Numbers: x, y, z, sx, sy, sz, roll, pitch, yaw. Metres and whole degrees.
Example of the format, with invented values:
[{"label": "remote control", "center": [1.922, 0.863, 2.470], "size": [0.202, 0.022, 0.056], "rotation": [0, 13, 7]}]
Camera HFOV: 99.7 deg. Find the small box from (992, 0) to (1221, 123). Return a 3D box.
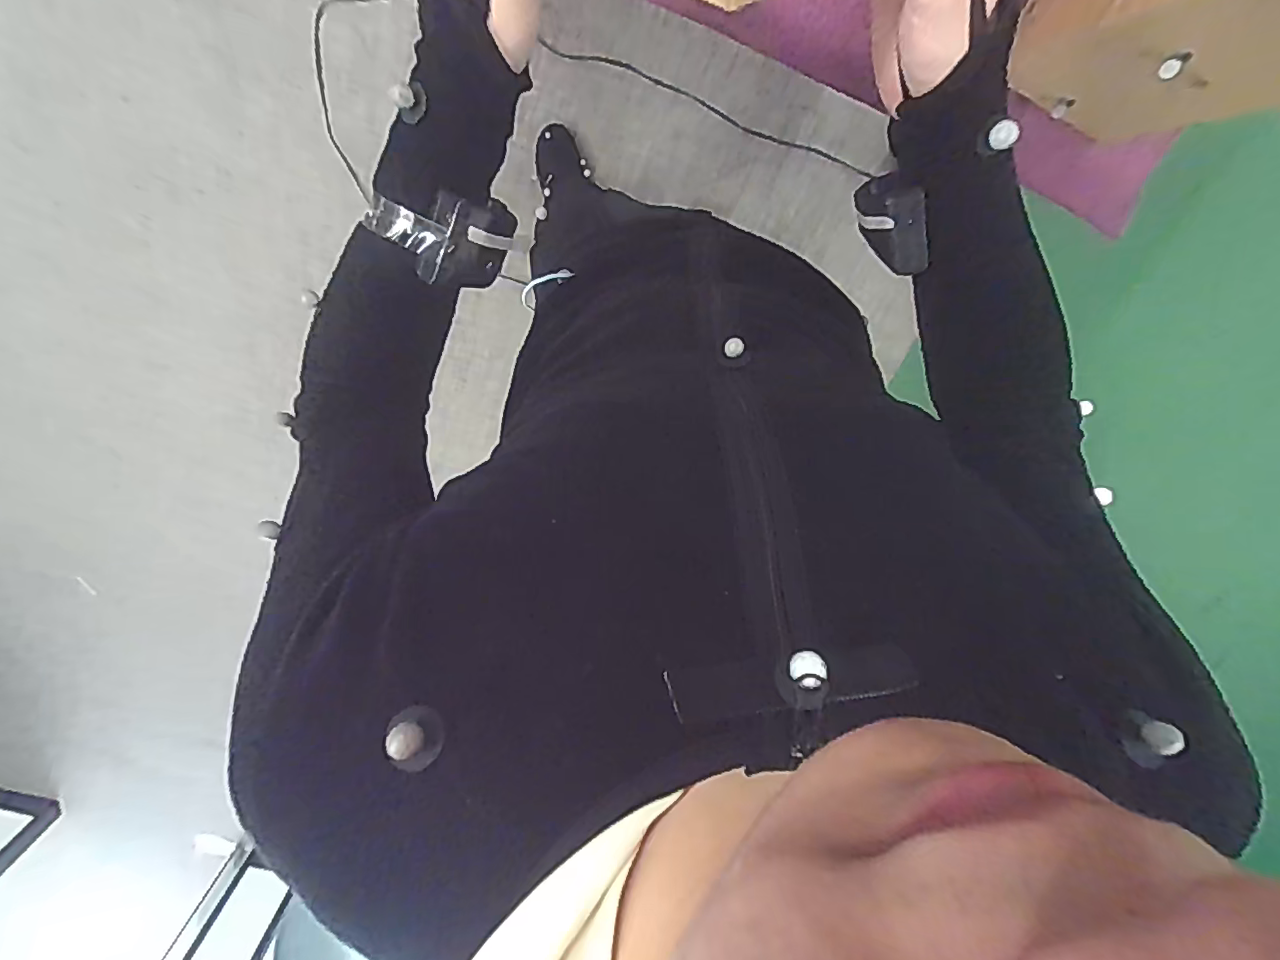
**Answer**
[{"label": "small box", "center": [0.520, -0.494, 0.550], "size": [0.179, 0.176, 0.168], "rotation": [23, 114, -9]}]
